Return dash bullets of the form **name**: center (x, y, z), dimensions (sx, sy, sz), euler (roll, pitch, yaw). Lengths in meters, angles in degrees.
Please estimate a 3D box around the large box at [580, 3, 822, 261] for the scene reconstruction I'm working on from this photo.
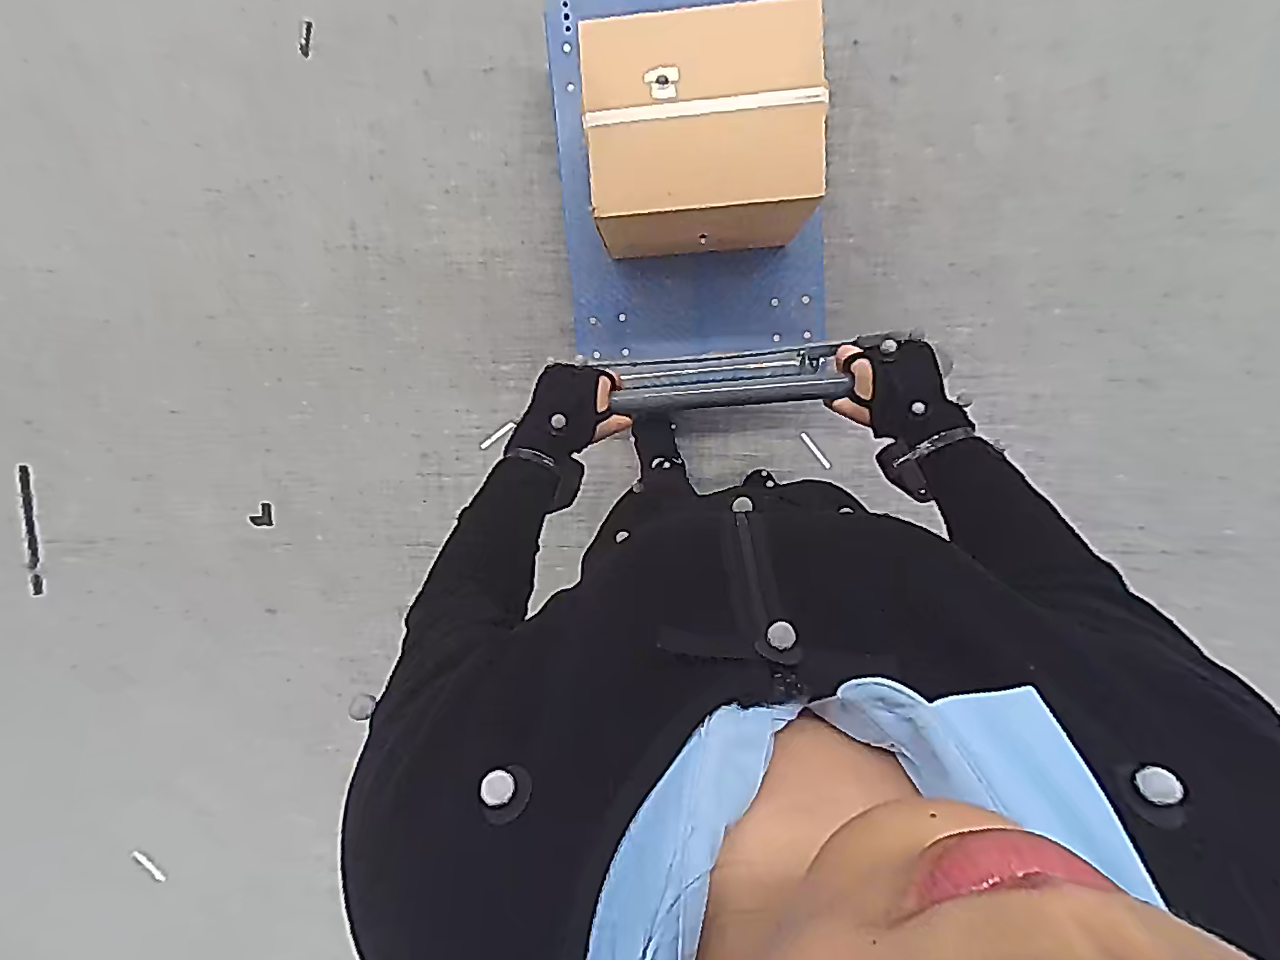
- **large box**: center (0.118, -0.648, 1.077), dimensions (0.408, 0.320, 0.320), euler (-4, 98, 5)
